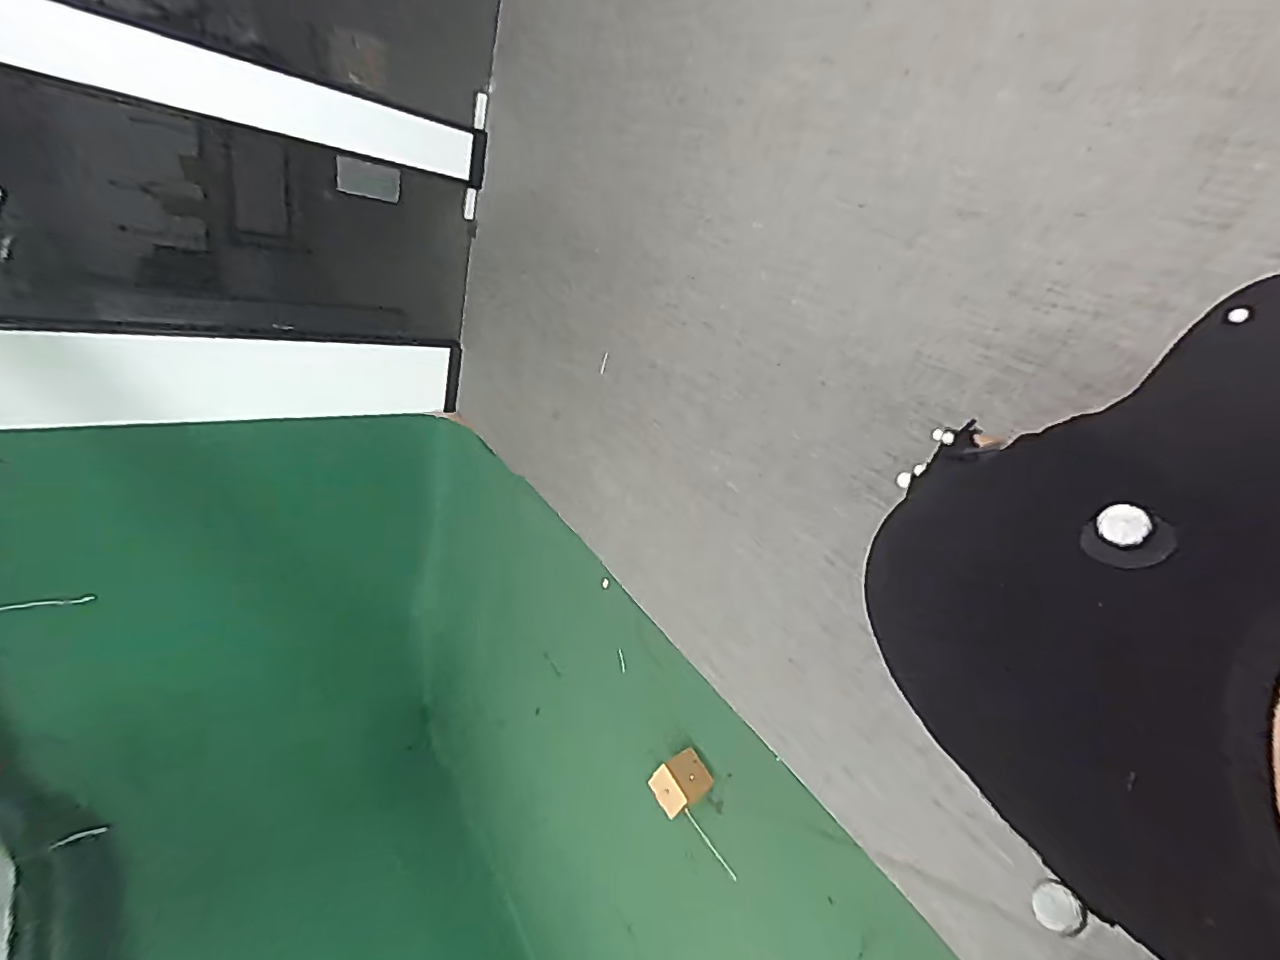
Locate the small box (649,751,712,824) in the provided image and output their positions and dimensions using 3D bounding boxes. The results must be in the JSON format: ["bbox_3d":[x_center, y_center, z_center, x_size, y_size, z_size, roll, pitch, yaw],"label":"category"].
[{"bbox_3d":[0.171,1.253,2.214,0.168,0.176,0.179,48,129,33],"label":"small box"}]
